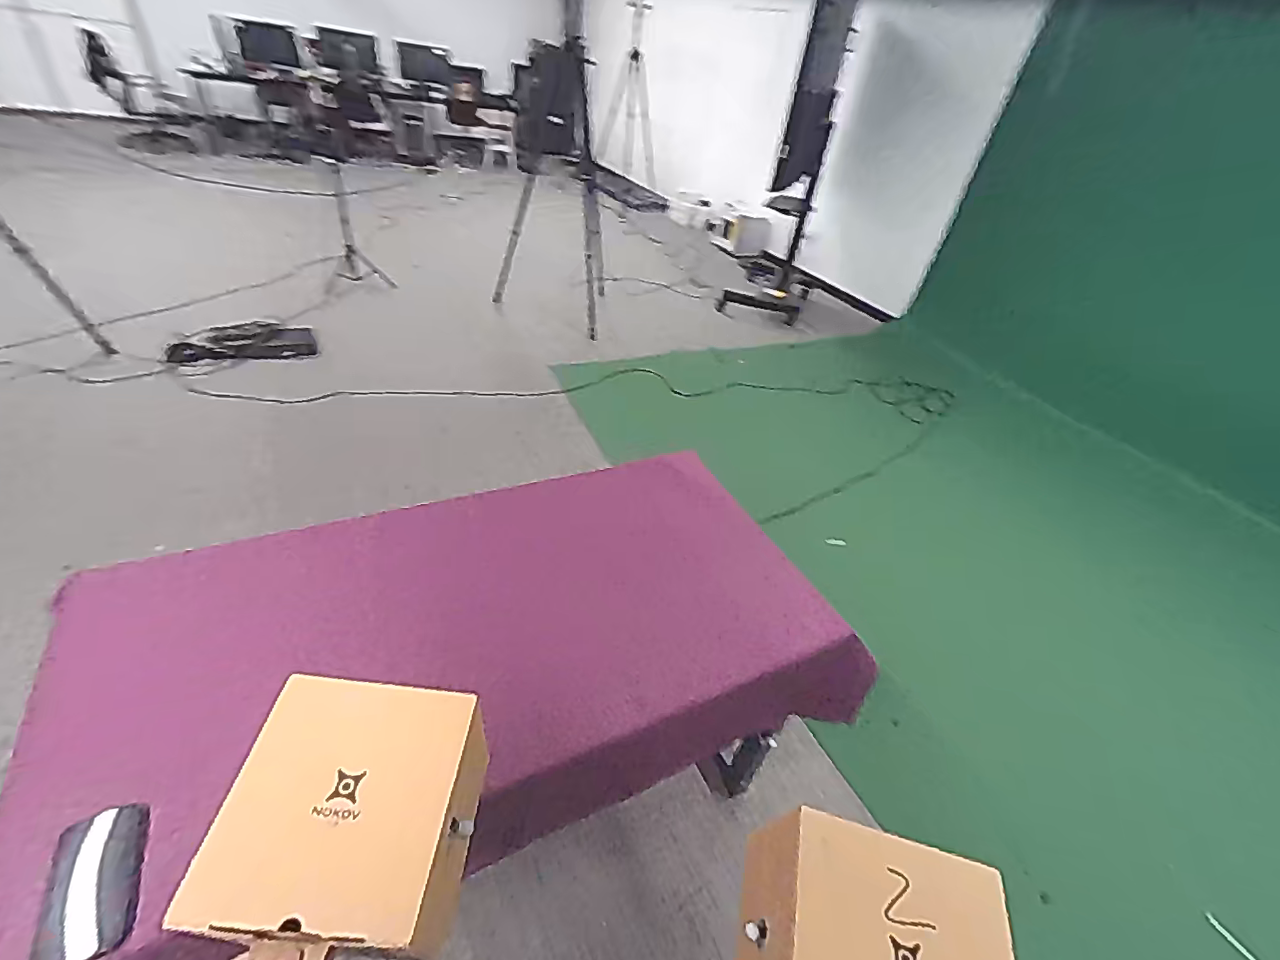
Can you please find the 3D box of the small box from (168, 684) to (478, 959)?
[{"bbox_3d":[-0.248,0.309,0.483,0.168,0.176,0.179,8,46,-4],"label":"small box"}]
